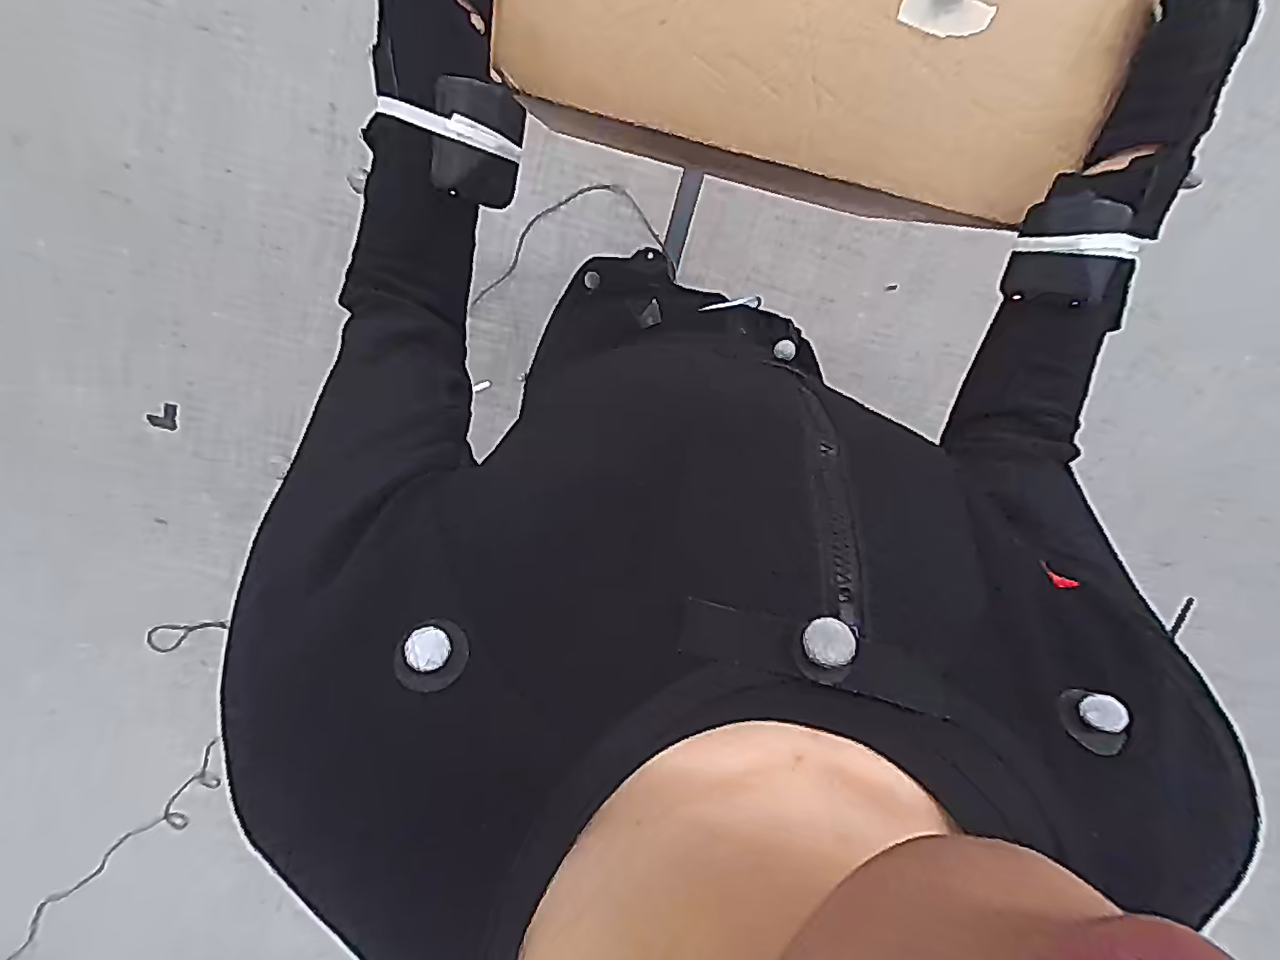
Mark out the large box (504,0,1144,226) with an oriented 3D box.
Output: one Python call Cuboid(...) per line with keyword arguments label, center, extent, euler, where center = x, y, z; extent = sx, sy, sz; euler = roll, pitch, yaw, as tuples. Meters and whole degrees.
Cuboid(label="large box", center=(0.124, -0.425, 0.444), extent=(0.408, 0.320, 0.320), euler=(10, 119, -8))
